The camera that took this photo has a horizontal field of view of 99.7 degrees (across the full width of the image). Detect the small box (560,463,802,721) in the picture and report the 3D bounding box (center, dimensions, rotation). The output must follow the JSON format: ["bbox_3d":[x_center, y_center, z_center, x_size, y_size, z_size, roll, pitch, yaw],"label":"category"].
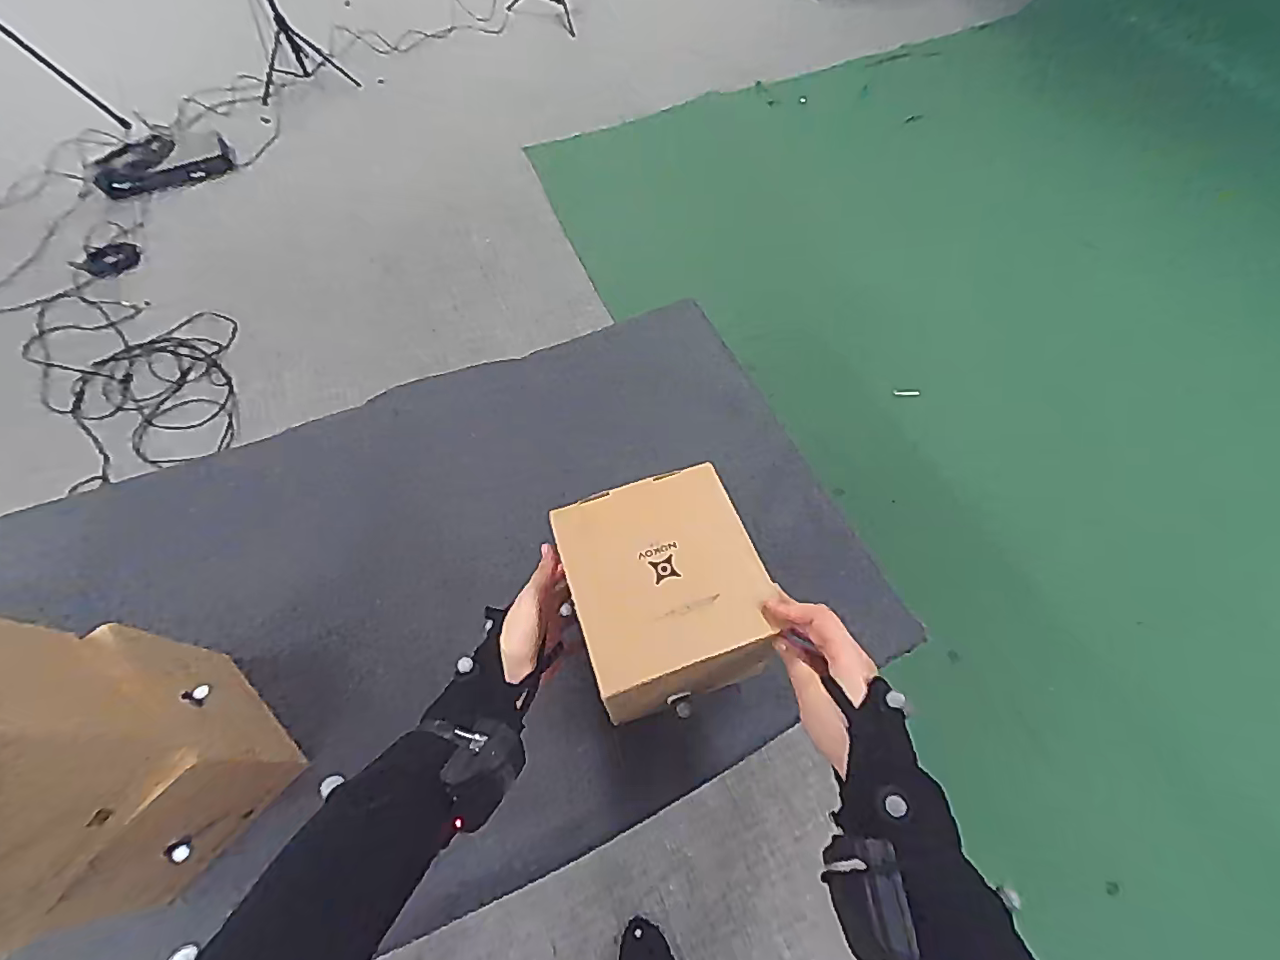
[{"bbox_3d":[0.030,0.116,0.537,0.168,0.176,0.179,-18,61,-9],"label":"small box"}]

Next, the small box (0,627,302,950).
[{"bbox_3d":[-0.471,0.272,0.511,0.179,0.176,0.168,37,68,19],"label":"small box"}]
